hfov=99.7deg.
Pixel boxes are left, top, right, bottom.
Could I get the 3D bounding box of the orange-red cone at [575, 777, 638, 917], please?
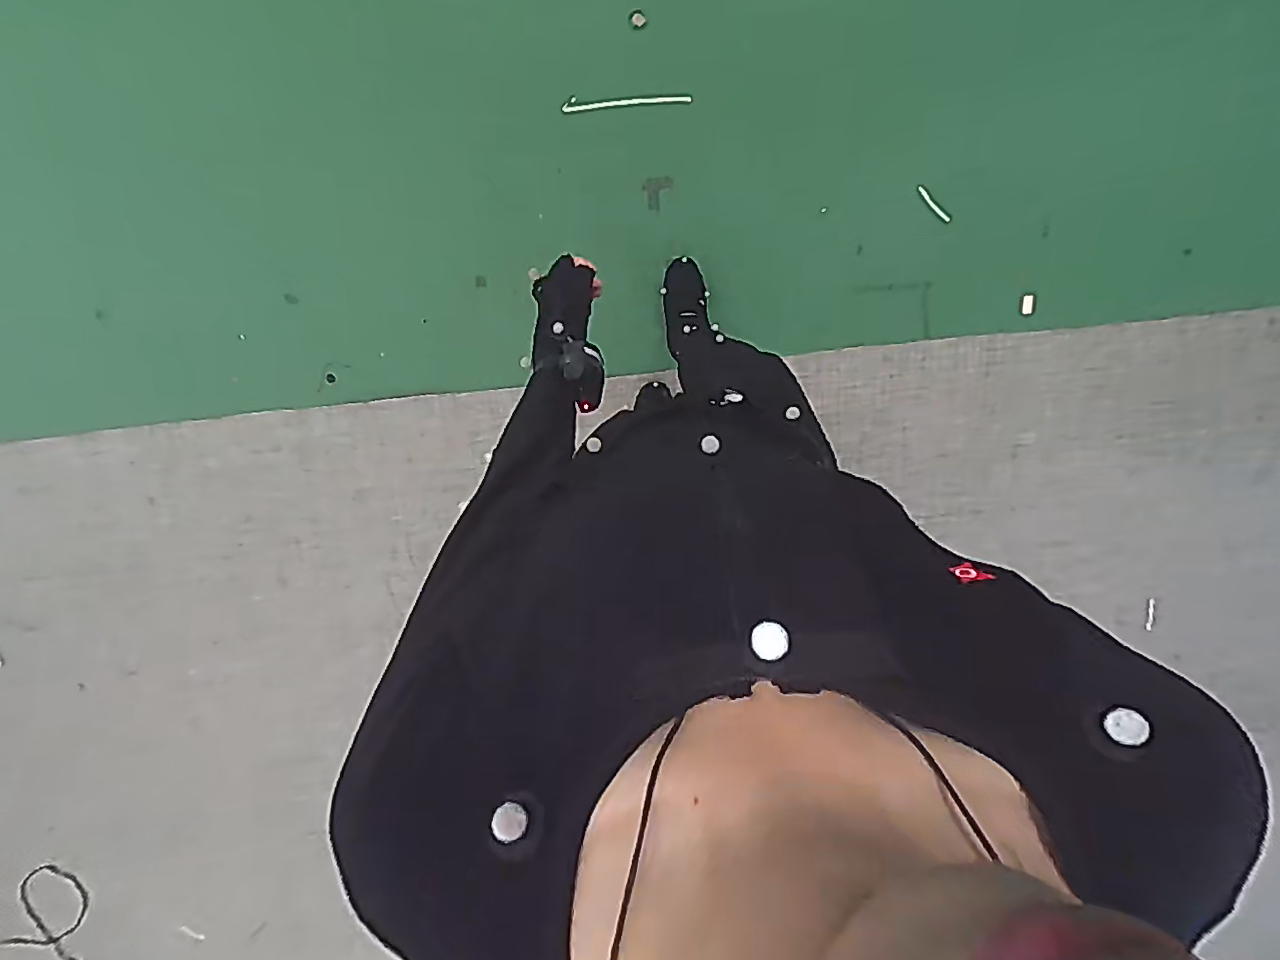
[{"bbox_3d":[-0.098,1.061,1.543,0.198,0.360,0.199,-2,100,-2],"label":"orange-red cone"}]
